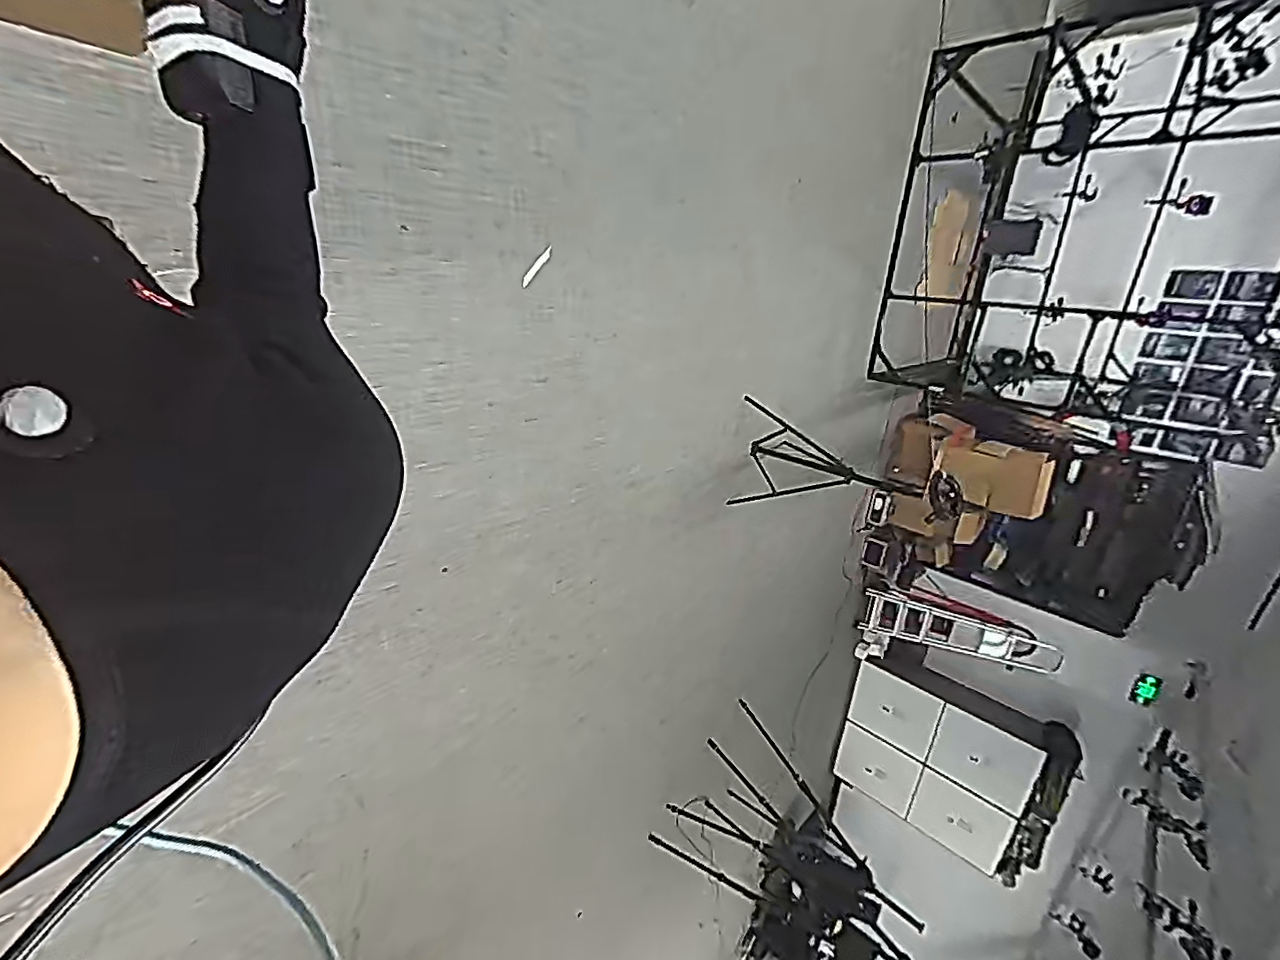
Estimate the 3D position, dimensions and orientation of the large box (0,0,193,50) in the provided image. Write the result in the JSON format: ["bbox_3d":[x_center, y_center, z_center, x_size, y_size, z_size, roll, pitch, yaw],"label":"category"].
[{"bbox_3d":[-0.530,-0.489,0.274,0.408,0.320,0.320,-16,123,-46],"label":"large box"}]
